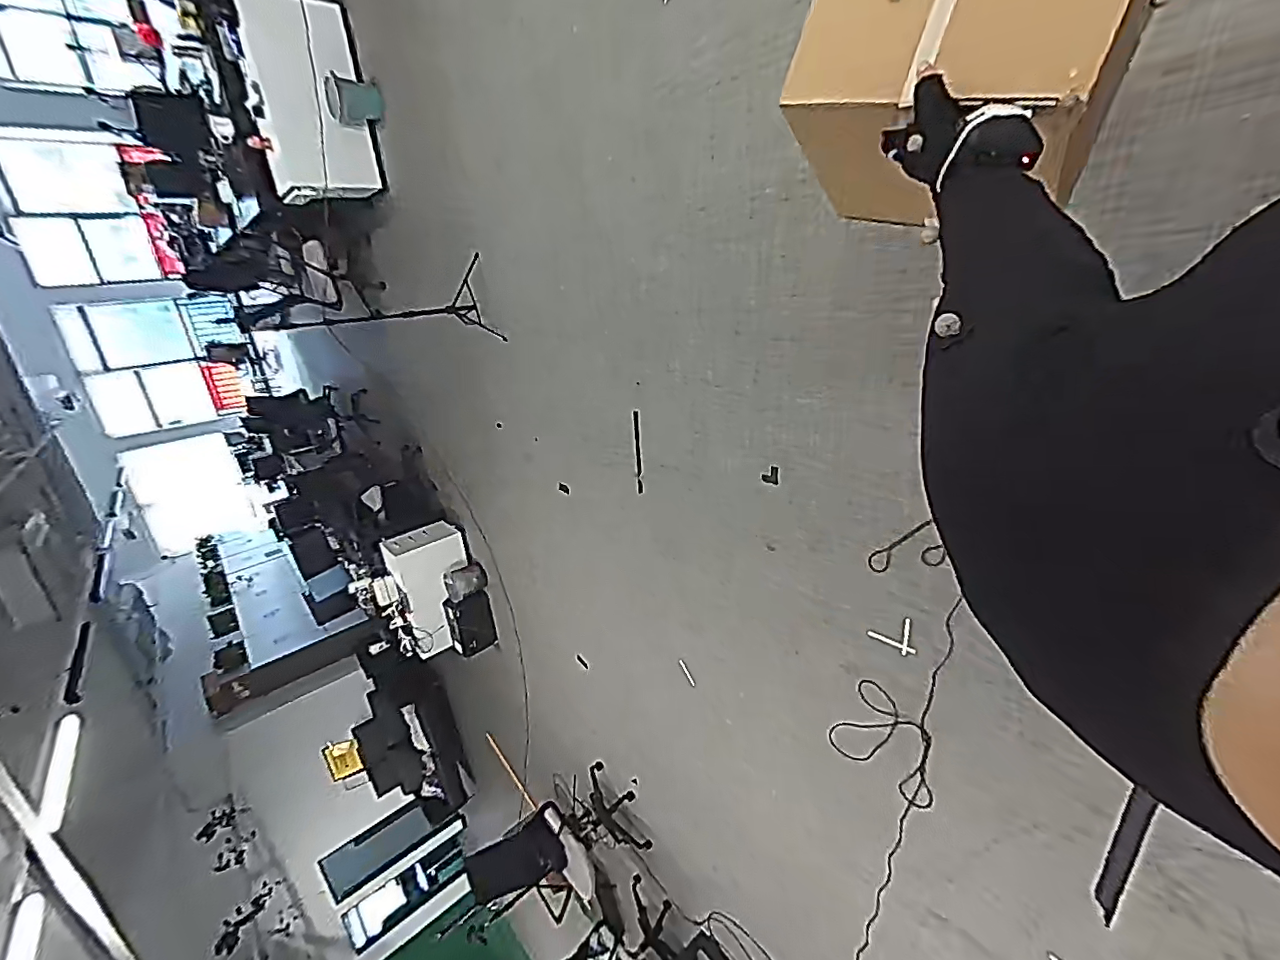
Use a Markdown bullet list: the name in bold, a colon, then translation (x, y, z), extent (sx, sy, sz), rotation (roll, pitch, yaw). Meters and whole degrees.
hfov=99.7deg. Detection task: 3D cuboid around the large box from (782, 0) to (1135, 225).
- **large box**: translation (0.429, -0.597, 0.681), extent (0.320, 0.320, 0.408), rotation (24, 103, 32)
